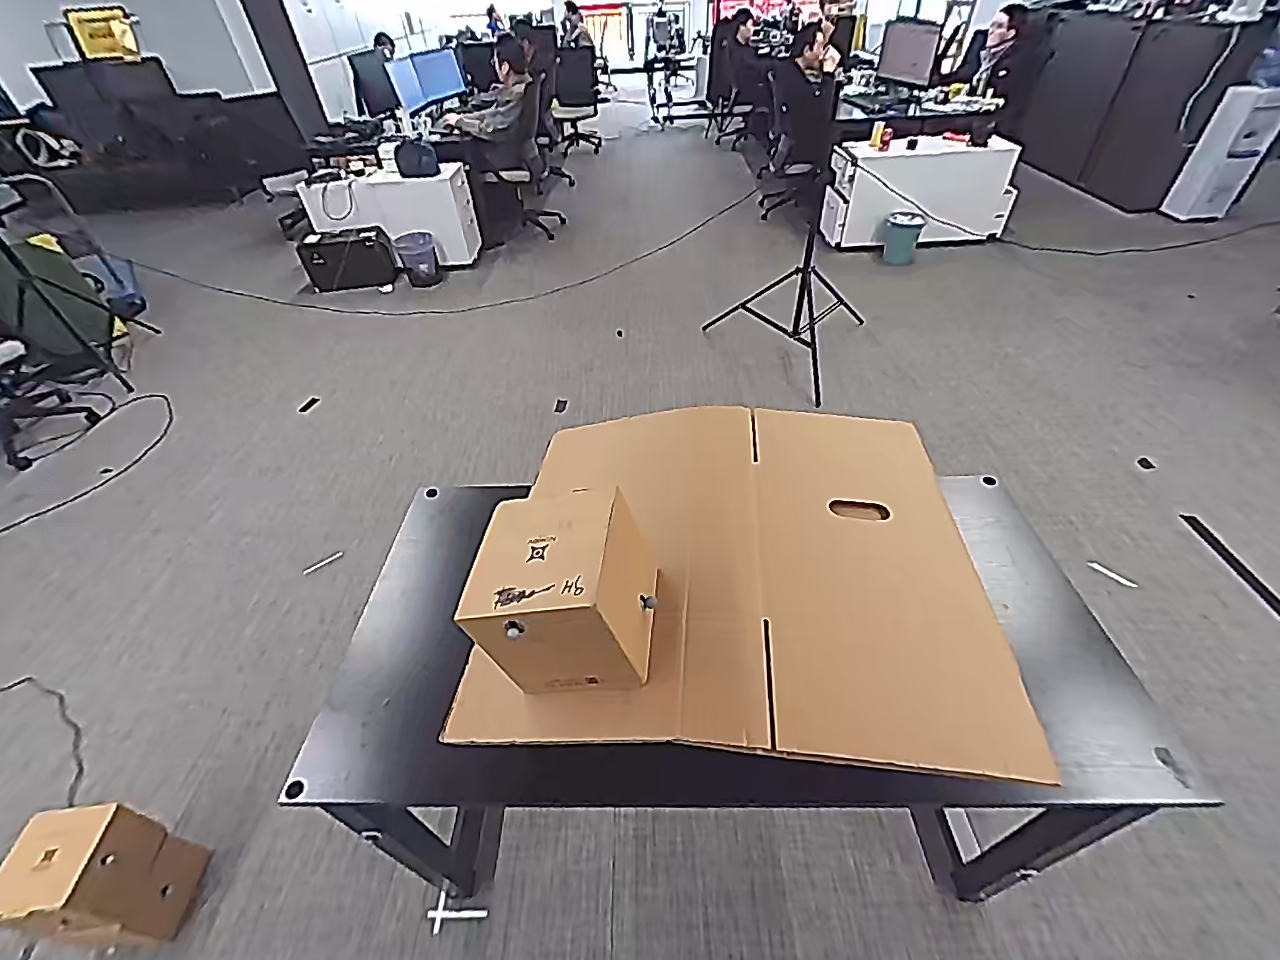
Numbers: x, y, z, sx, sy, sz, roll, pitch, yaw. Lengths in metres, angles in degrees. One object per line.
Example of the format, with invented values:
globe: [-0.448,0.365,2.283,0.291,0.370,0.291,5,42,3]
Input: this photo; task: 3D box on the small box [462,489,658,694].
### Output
small box: [-0.081,0.139,0.664,0.168,0.176,0.179,-10,40,17]

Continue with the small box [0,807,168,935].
small box: [-1.122,0.794,1.095,0.168,0.176,0.179,-6,41,-3]

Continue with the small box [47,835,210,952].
small box: [-1.112,0.918,1.200,0.168,0.176,0.179,-4,43,0]
